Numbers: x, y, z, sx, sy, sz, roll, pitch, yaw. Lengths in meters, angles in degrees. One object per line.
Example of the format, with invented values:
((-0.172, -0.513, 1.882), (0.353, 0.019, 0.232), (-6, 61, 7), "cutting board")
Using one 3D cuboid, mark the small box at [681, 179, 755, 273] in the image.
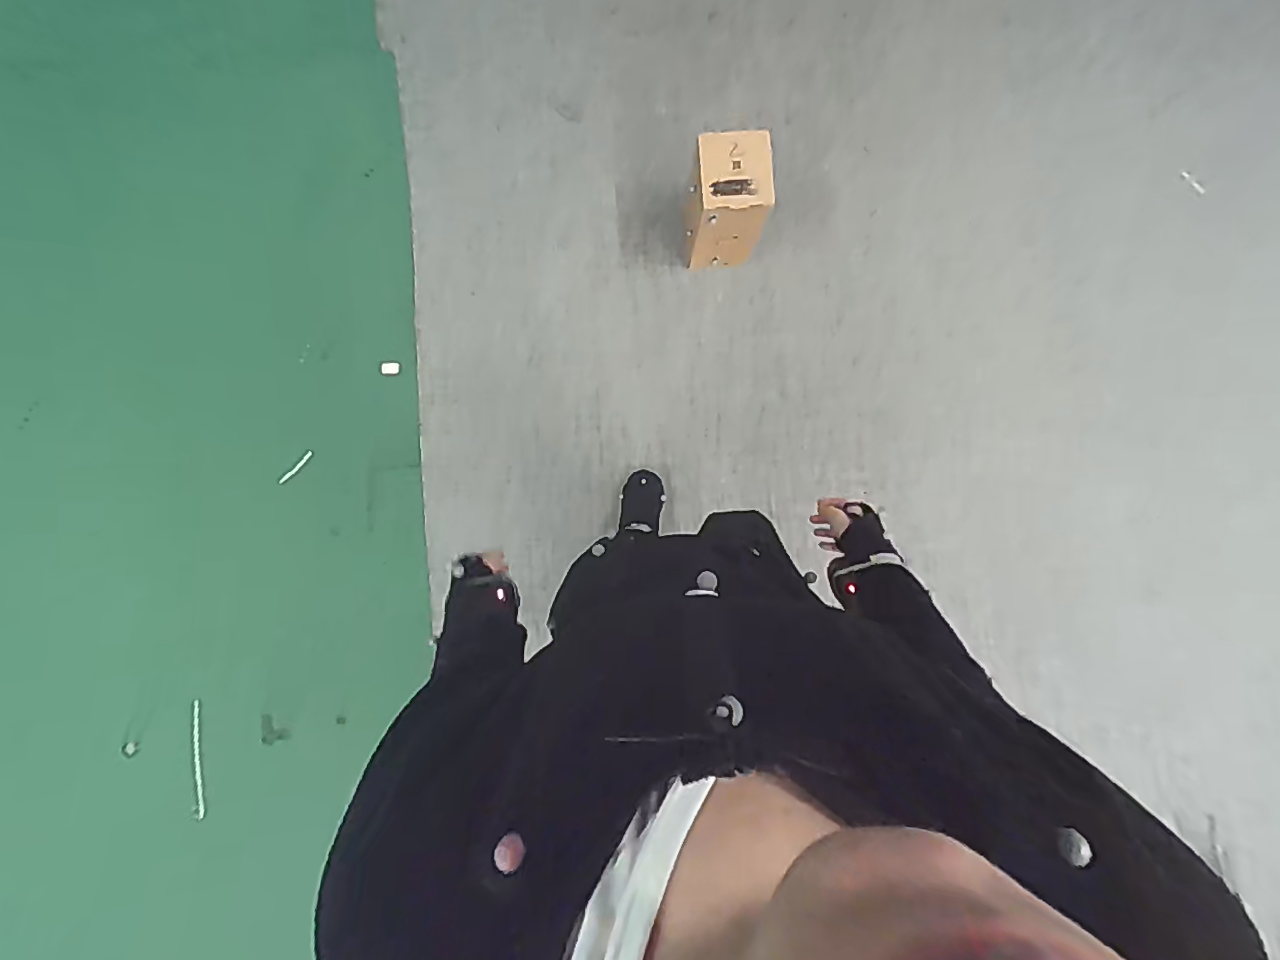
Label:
((0.208, -0.687, 1.474), (0.168, 0.176, 0.179), (-4, 88, -2), "small box")
